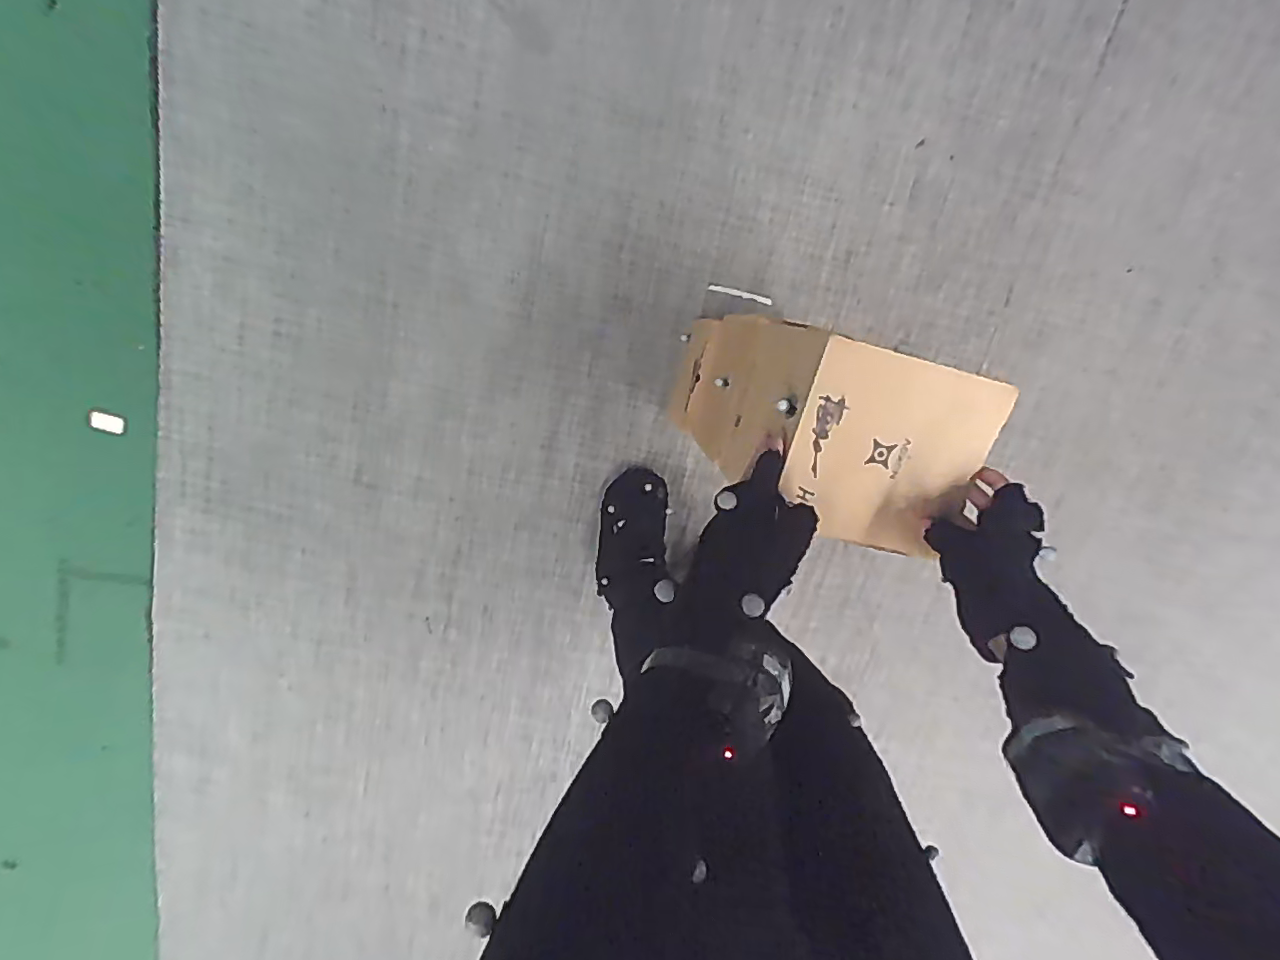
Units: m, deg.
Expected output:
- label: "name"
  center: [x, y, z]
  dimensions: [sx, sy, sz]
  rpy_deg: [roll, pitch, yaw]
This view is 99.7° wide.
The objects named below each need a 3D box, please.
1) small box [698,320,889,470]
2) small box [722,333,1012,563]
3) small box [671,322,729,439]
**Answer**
- label: "small box"
  center: [0.181, -0.100, 0.702]
  dimensions: [0.168, 0.176, 0.179]
  rpy_deg: [13, 106, -6]
- label: "small box"
  center: [0.202, -0.042, 0.537]
  dimensions: [0.179, 0.176, 0.168]
  rpy_deg: [13, 107, -10]
- label: "small box"
  center: [0.157, -0.142, 0.856]
  dimensions: [0.179, 0.176, 0.168]
  rpy_deg: [14, 105, -8]
